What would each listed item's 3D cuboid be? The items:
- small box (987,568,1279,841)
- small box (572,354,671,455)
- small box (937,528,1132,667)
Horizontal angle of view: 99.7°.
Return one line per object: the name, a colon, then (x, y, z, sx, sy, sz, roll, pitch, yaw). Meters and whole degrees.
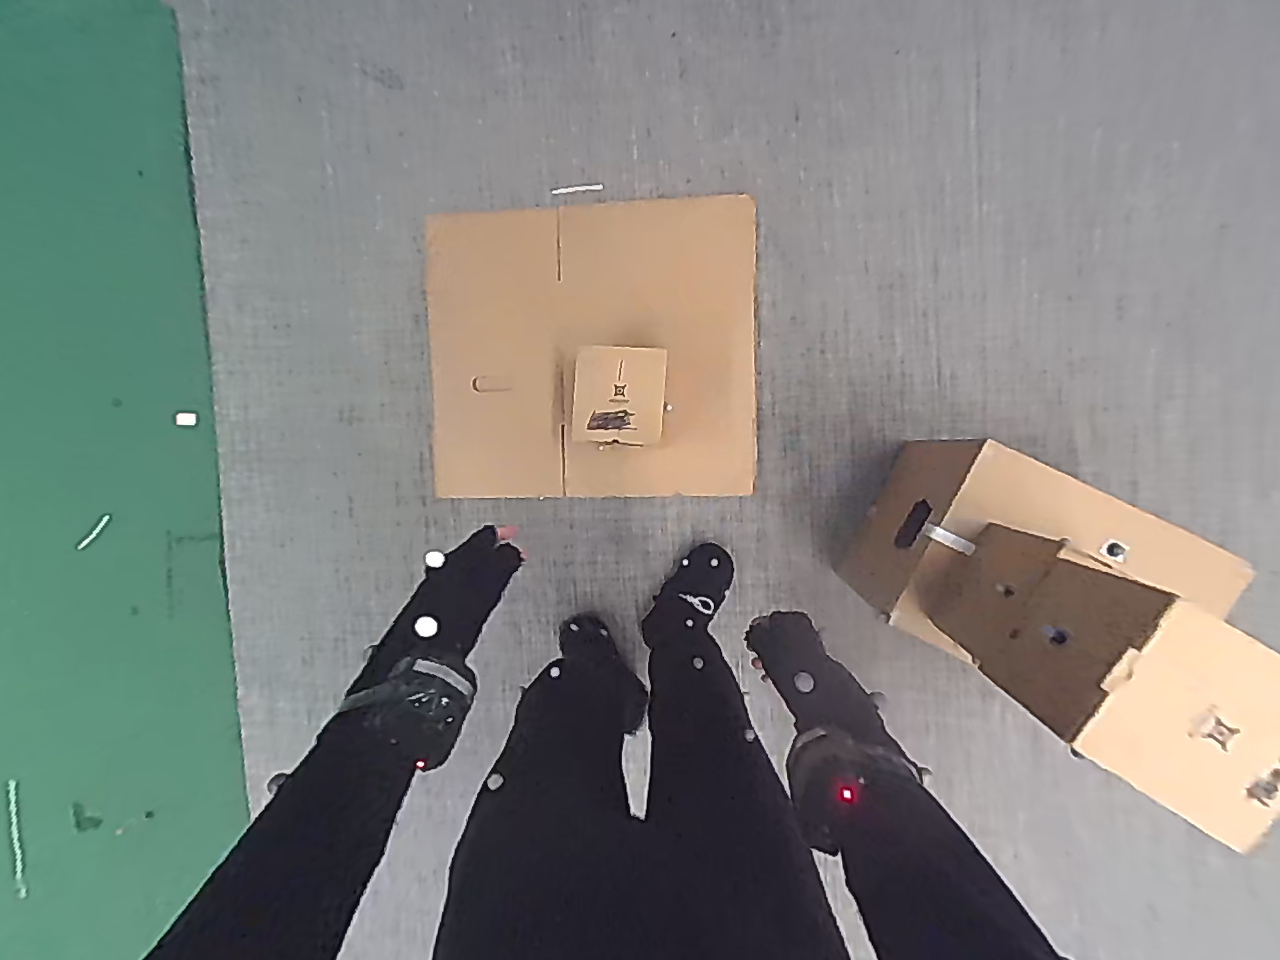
small box: (0.507, 0.204, 0.553, 0.179, 0.176, 0.168, 29, 94, 5)
small box: (-0.029, -0.140, 1.052, 0.168, 0.176, 0.179, 4, 92, 7)
small box: (0.532, 0.181, 0.711, 0.168, 0.176, 0.179, 28, 98, 6)
